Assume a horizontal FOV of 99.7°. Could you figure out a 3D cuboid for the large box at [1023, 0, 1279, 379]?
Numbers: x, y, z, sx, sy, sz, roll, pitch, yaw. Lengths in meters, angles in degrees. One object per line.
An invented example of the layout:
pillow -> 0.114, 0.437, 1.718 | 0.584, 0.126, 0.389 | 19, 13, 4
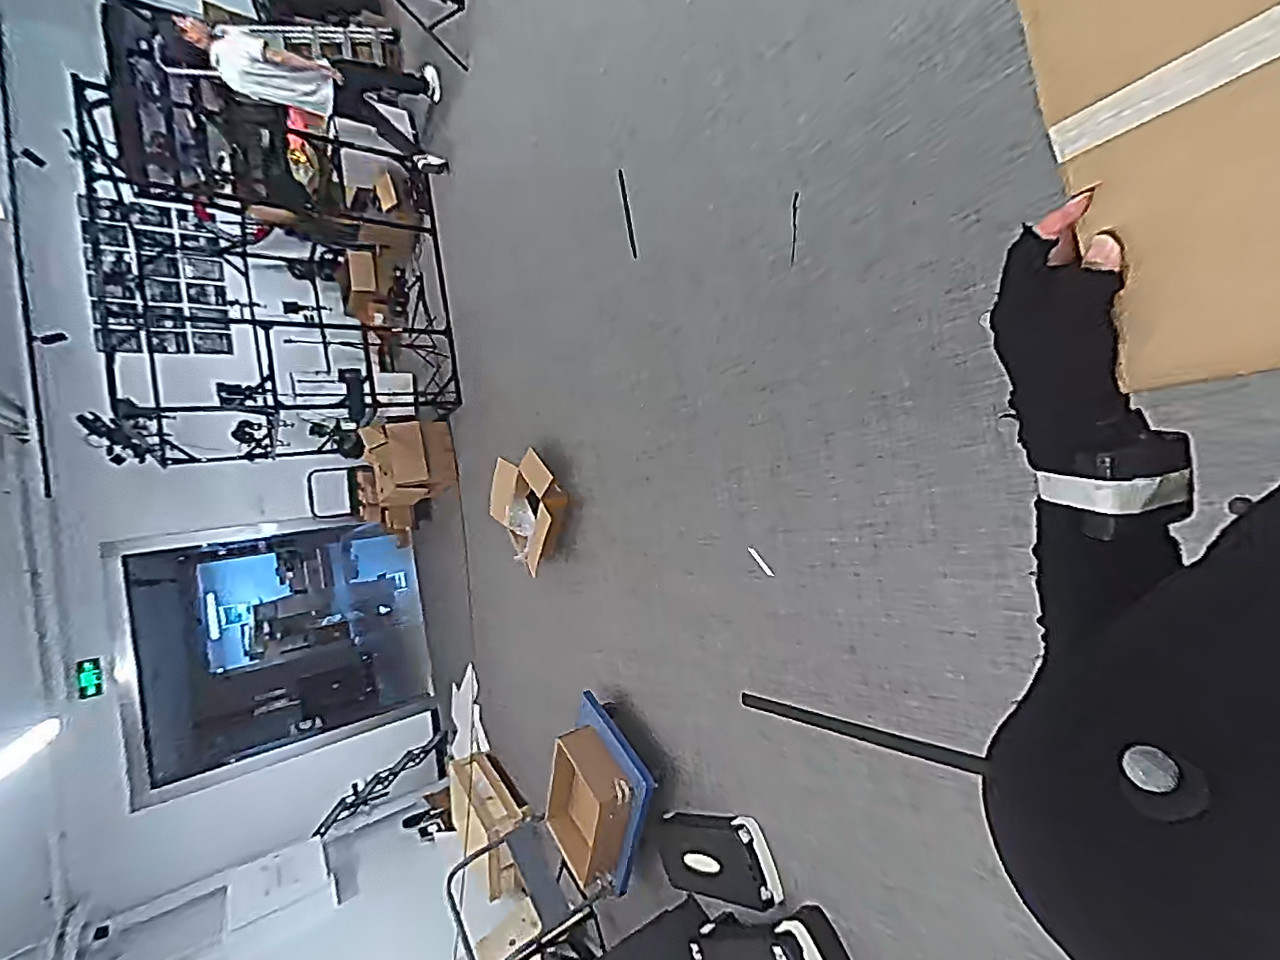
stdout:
large box -> 0.475, -0.275, 0.240 | 0.408, 0.320, 0.320 | -8, 106, 58
